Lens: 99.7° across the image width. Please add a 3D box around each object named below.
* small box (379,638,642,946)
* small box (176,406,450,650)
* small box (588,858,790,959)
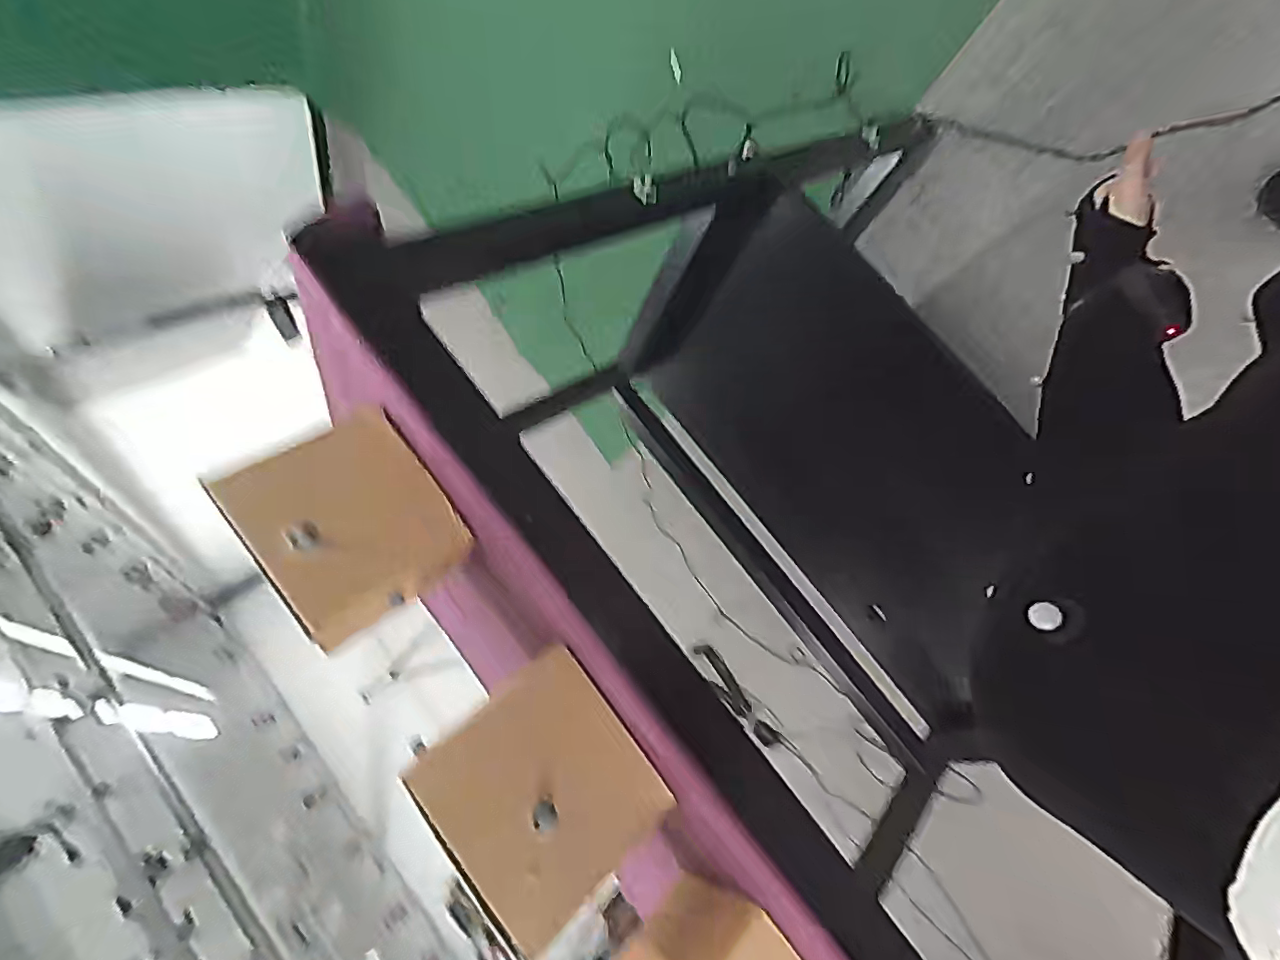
[{"bbox_3d":[-0.127,0.286,0.535,0.179,0.176,0.168,51,147,4],"label":"small box"},{"bbox_3d":[-0.326,0.053,0.576,0.179,0.176,0.168,52,148,2],"label":"small box"},{"bbox_3d":[0.051,0.498,0.505,0.168,0.176,0.179,50,148,7],"label":"small box"}]
